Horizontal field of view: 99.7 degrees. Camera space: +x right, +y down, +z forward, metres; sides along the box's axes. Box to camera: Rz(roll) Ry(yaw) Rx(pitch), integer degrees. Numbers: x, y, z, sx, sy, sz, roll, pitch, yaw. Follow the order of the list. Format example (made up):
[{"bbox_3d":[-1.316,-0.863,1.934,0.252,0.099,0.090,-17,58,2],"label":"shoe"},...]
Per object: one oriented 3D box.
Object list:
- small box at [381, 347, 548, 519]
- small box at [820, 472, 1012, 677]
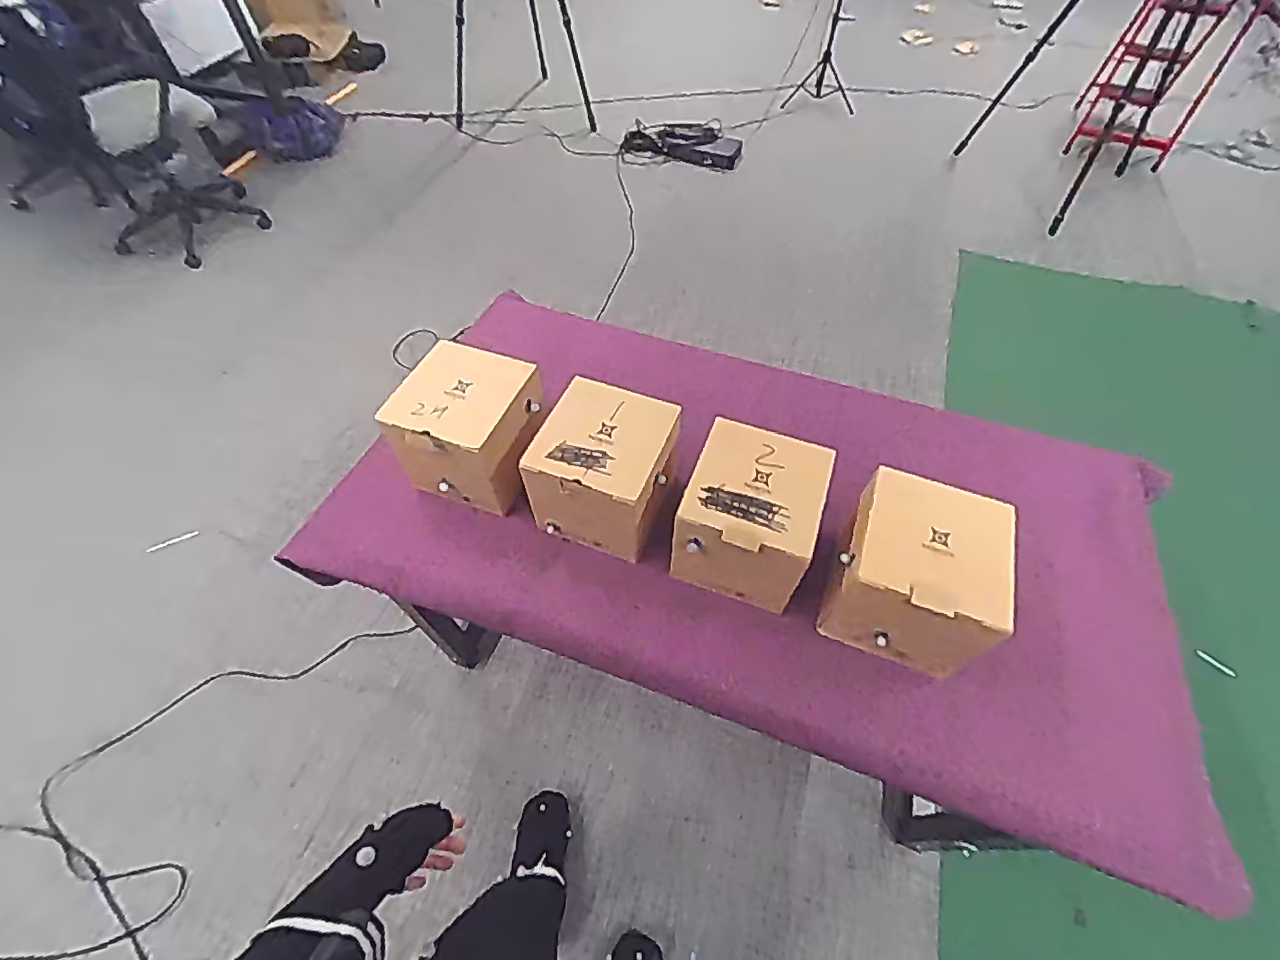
[{"bbox_3d":[-0.255,-0.070,0.839,0.168,0.176,0.179,17,56,12],"label":"small box"},{"bbox_3d":[0.349,0.125,0.702,0.168,0.176,0.179,19,56,13],"label":"small box"}]
